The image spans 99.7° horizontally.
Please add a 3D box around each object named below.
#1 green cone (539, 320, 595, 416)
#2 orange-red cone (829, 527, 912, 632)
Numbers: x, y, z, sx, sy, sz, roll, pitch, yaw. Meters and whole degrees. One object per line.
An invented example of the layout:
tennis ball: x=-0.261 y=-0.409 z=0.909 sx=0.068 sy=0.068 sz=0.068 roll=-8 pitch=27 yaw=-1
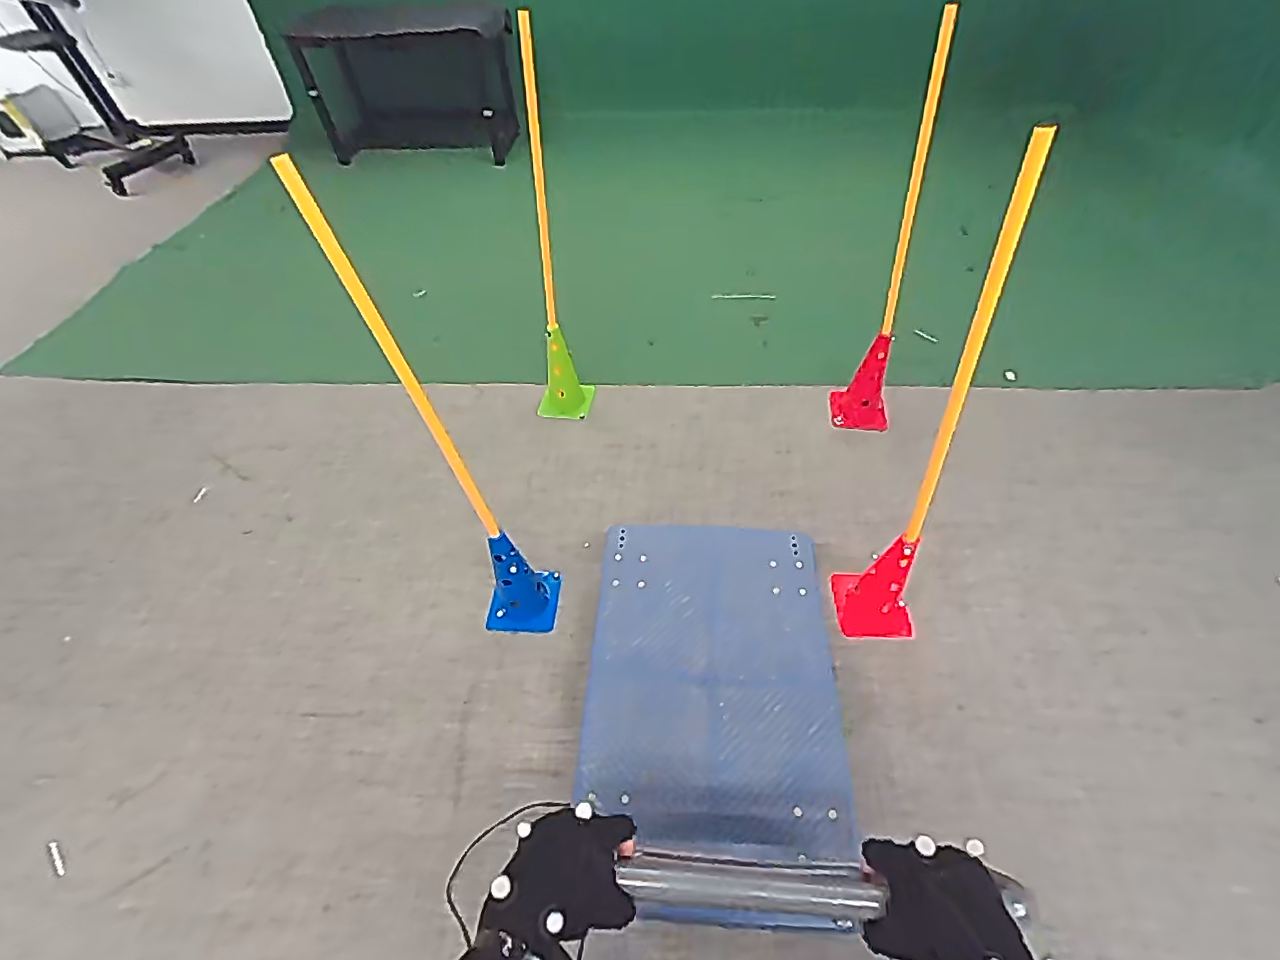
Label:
green cone: x=-0.302 y=-0.442 z=2.050 sx=0.202 sy=0.368 sz=0.200 roll=4 pitch=51 yaw=7
orange-red cone: x=0.651 y=0.242 z=1.446 sx=0.199 sy=0.360 sz=0.198 roll=0 pitch=50 yaw=5
